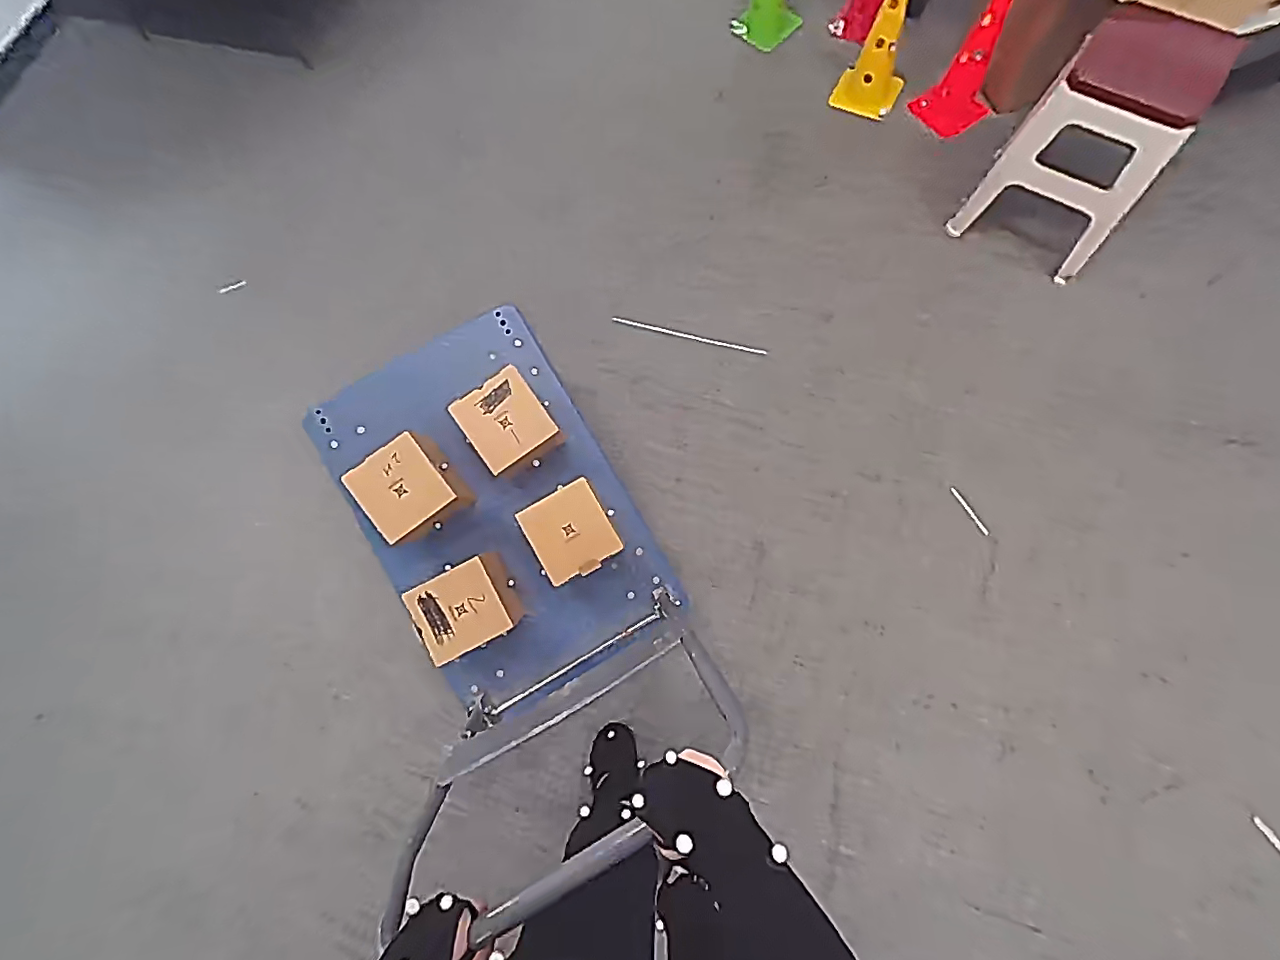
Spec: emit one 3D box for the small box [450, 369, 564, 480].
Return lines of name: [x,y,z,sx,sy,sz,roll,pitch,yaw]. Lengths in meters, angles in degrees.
small box: [-0.286,-0.113,1.202,0.168,0.176,0.179,-35,89,-4]

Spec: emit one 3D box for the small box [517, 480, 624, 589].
small box: [-0.150,0.119,1.196,0.168,0.176,0.179,-30,89,-5]

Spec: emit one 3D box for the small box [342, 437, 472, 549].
small box: [-0.495,0.029,1.181,0.168,0.176,0.179,-37,89,-6]
